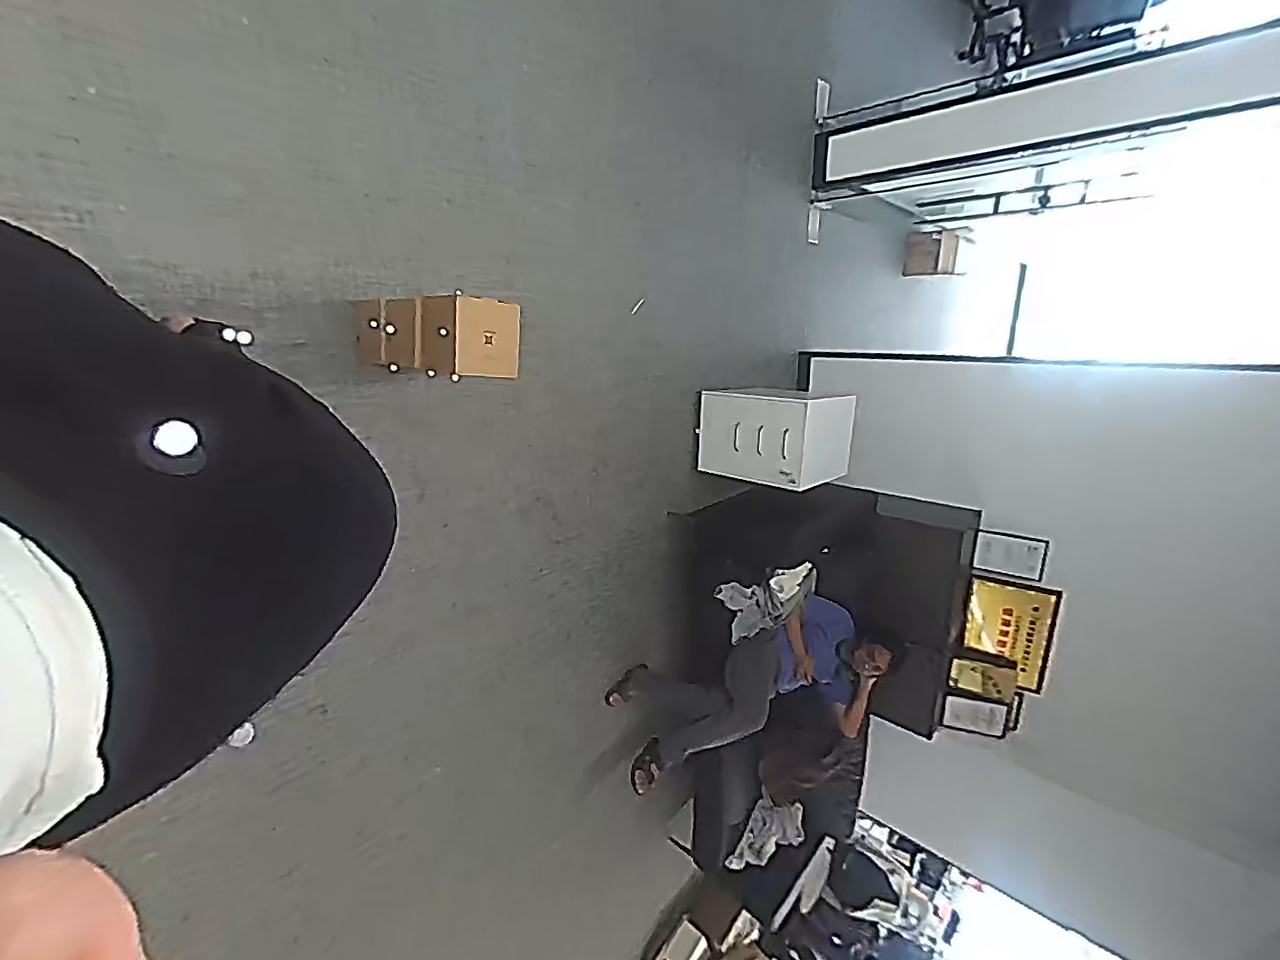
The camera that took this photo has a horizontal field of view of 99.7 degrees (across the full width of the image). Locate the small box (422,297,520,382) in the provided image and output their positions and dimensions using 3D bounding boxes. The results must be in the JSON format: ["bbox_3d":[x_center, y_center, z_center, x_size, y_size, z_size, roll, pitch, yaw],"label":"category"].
[{"bbox_3d":[-0.404,-0.331,1.287,0.168,0.176,0.179,-8,108,-47],"label":"small box"}]

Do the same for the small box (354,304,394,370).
[{"bbox_3d":[-0.659,-0.387,1.483,0.179,0.176,0.168,-8,107,-48],"label":"small box"}]

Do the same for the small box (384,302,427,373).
[{"bbox_3d":[-0.530,-0.357,1.384,0.179,0.176,0.168,-6,105,-48],"label":"small box"}]
